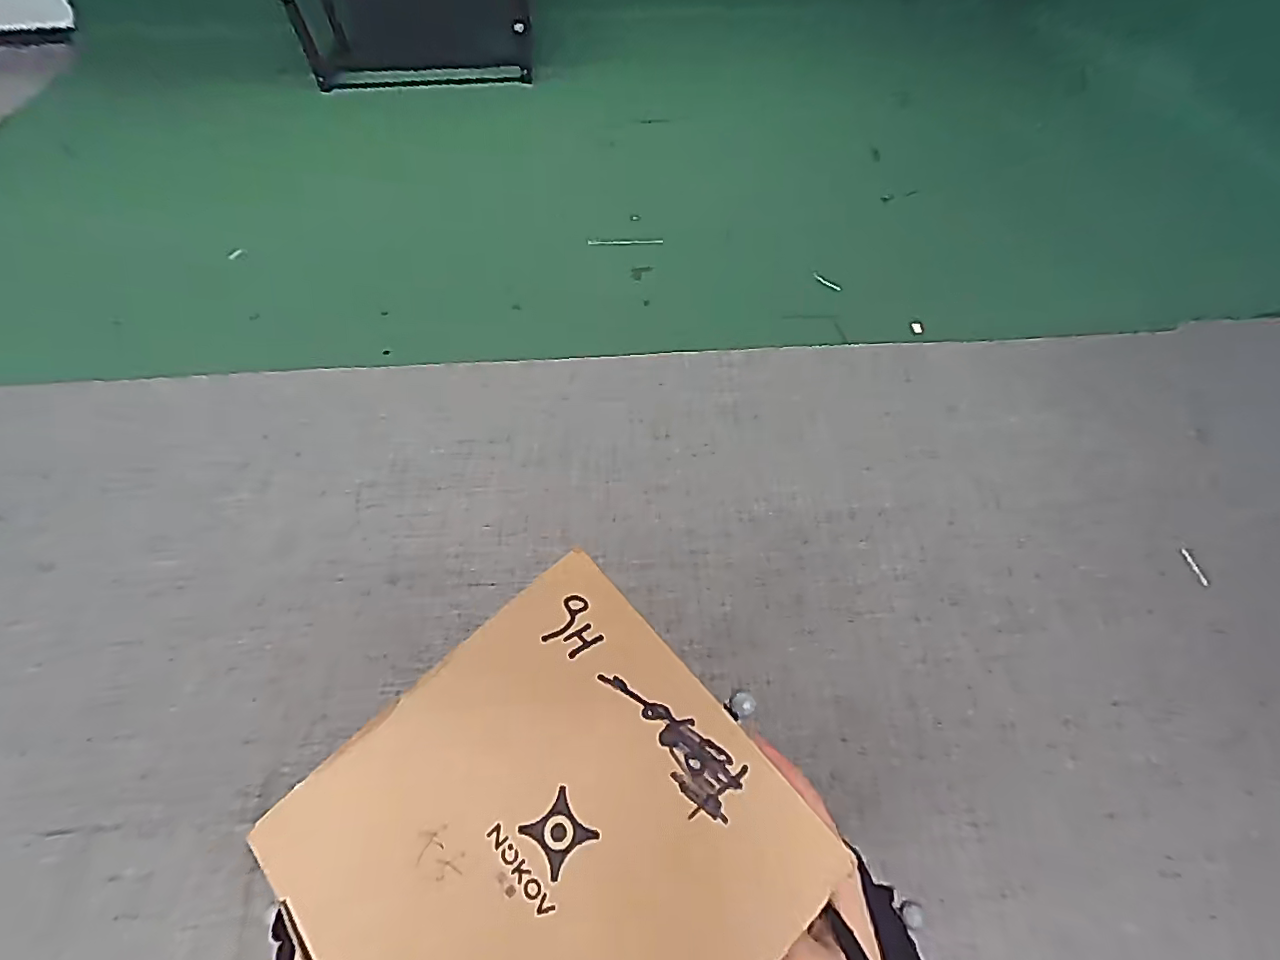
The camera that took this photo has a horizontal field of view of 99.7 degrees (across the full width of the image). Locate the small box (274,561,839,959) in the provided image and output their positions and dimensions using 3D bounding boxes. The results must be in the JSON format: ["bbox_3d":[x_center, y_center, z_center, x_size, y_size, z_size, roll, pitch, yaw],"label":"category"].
[{"bbox_3d":[-0.031,0.176,0.290,0.179,0.176,0.168,-41,71,-11],"label":"small box"}]
